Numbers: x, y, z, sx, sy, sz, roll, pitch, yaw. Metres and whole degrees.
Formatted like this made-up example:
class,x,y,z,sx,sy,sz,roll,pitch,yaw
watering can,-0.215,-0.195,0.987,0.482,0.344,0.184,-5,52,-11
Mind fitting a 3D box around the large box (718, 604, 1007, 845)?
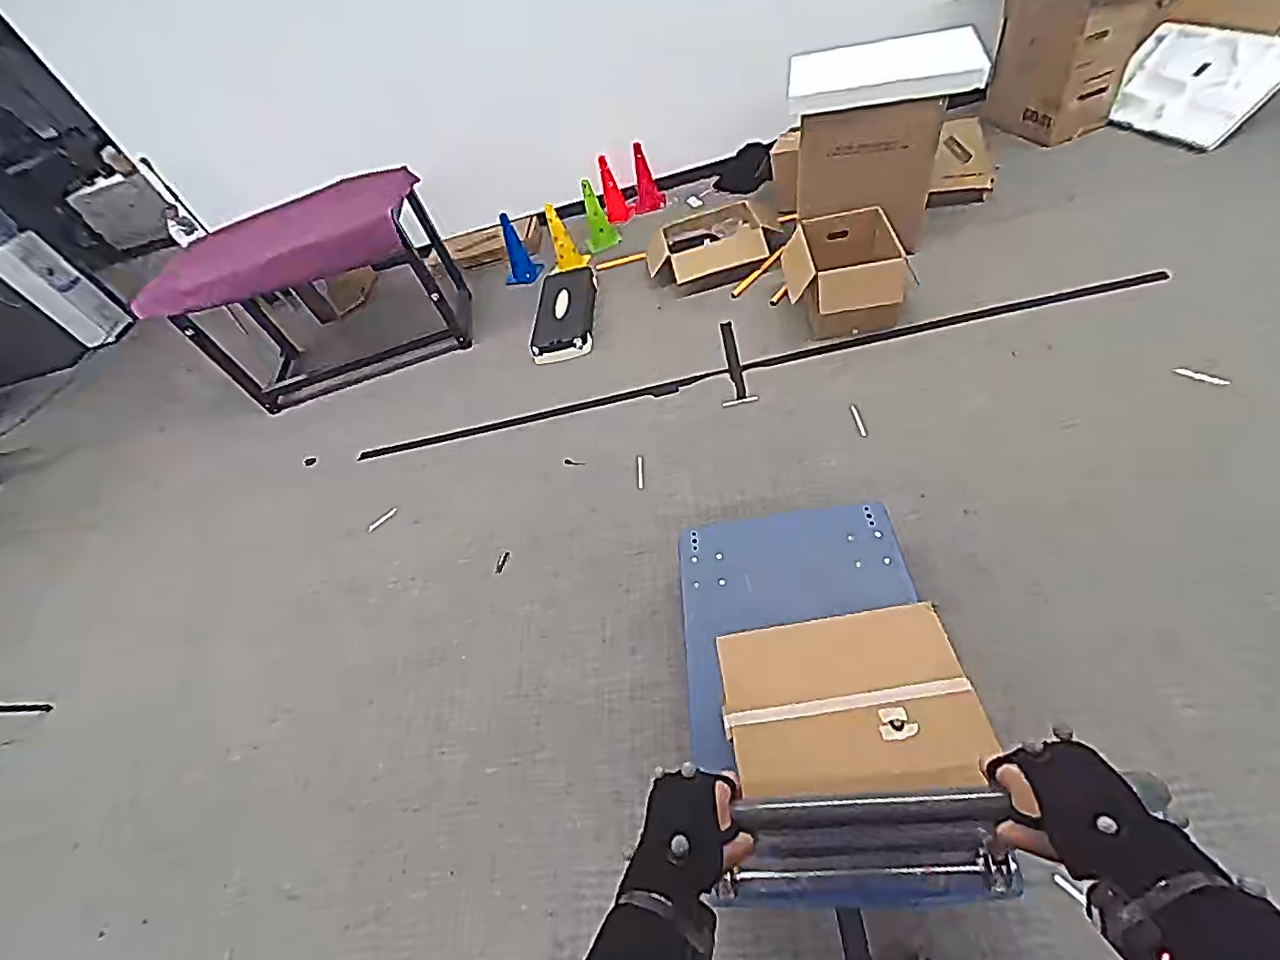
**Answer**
class,x,y,z,sx,sy,sz,roll,pitch,yaw
large box,0.387,0.482,1.048,0.408,0.320,0.320,-12,49,7
